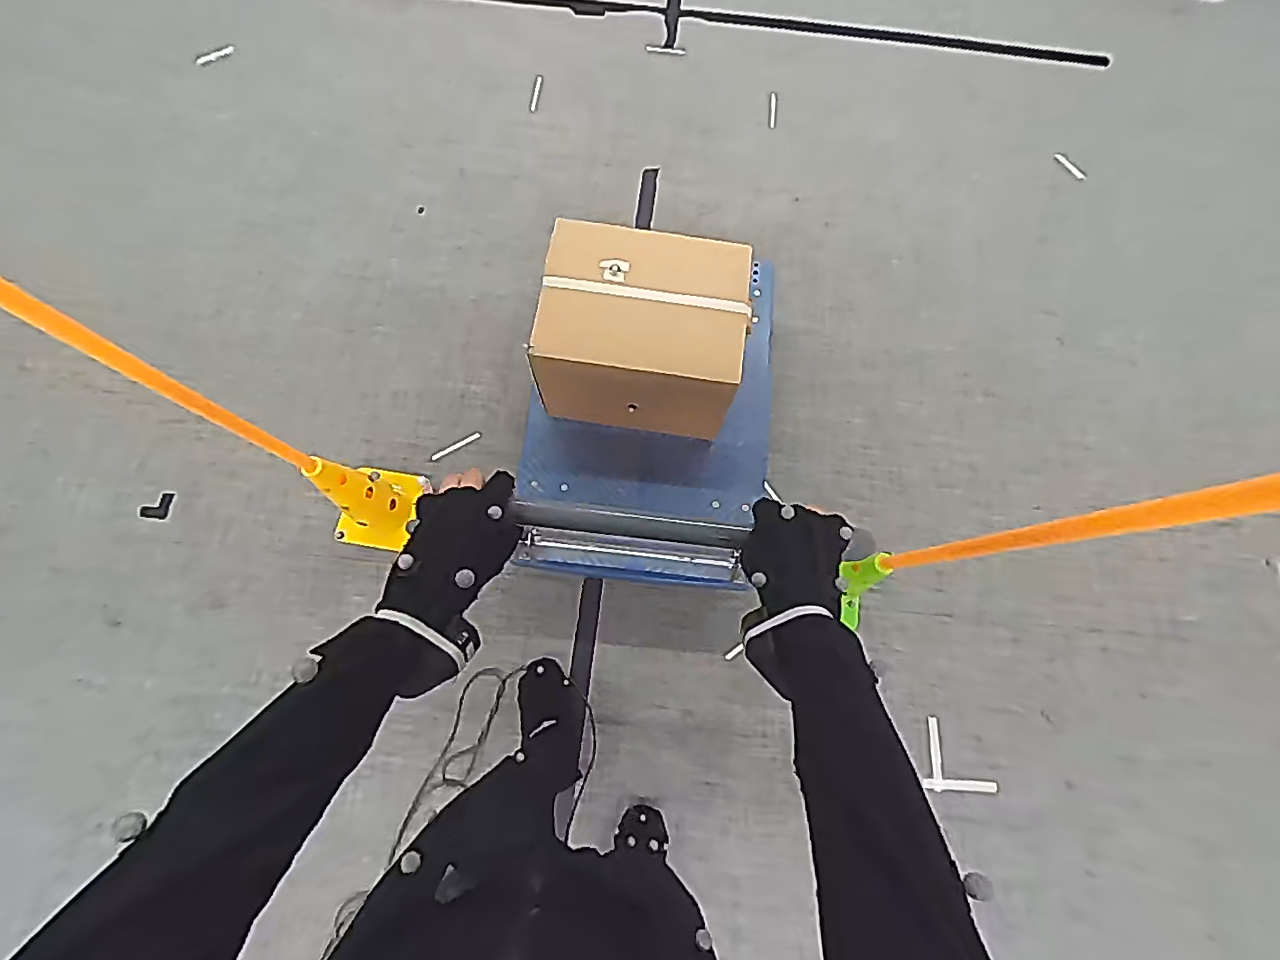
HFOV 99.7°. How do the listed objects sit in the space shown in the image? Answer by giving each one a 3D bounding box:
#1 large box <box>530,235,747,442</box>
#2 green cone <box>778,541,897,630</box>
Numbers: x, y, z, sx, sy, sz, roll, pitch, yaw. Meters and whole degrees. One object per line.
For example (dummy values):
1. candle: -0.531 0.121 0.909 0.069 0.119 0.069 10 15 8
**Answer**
1. large box: 0.003 -0.296 1.210 0.408 0.320 0.320 8 74 1
2. green cone: 0.466 0.220 1.220 0.202 0.368 0.200 11 73 0
